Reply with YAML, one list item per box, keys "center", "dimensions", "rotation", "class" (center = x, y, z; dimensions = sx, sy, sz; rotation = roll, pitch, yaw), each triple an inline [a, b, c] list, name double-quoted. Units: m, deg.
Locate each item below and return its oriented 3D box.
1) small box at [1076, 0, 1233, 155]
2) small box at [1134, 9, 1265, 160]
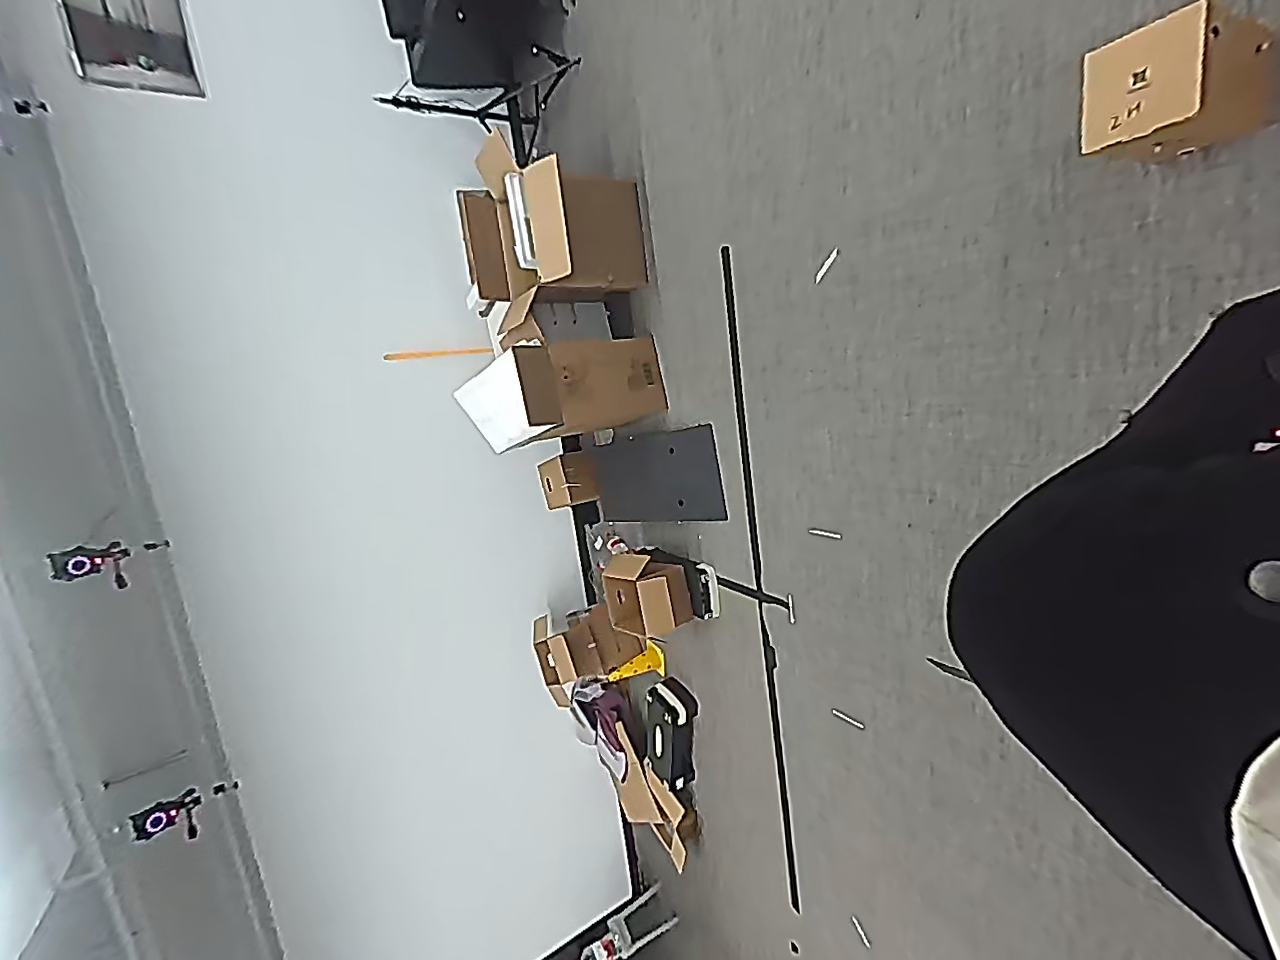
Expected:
- center: [0.932, -0.720, 0.982]
  dimensions: [0.168, 0.176, 0.179]
  rotation: [12, 112, 59]
  class: "small box"
- center: [1.075, -0.755, 1.057]
  dimensions: [0.168, 0.176, 0.179]
  rotation: [13, 112, 58]
  class: "small box"
